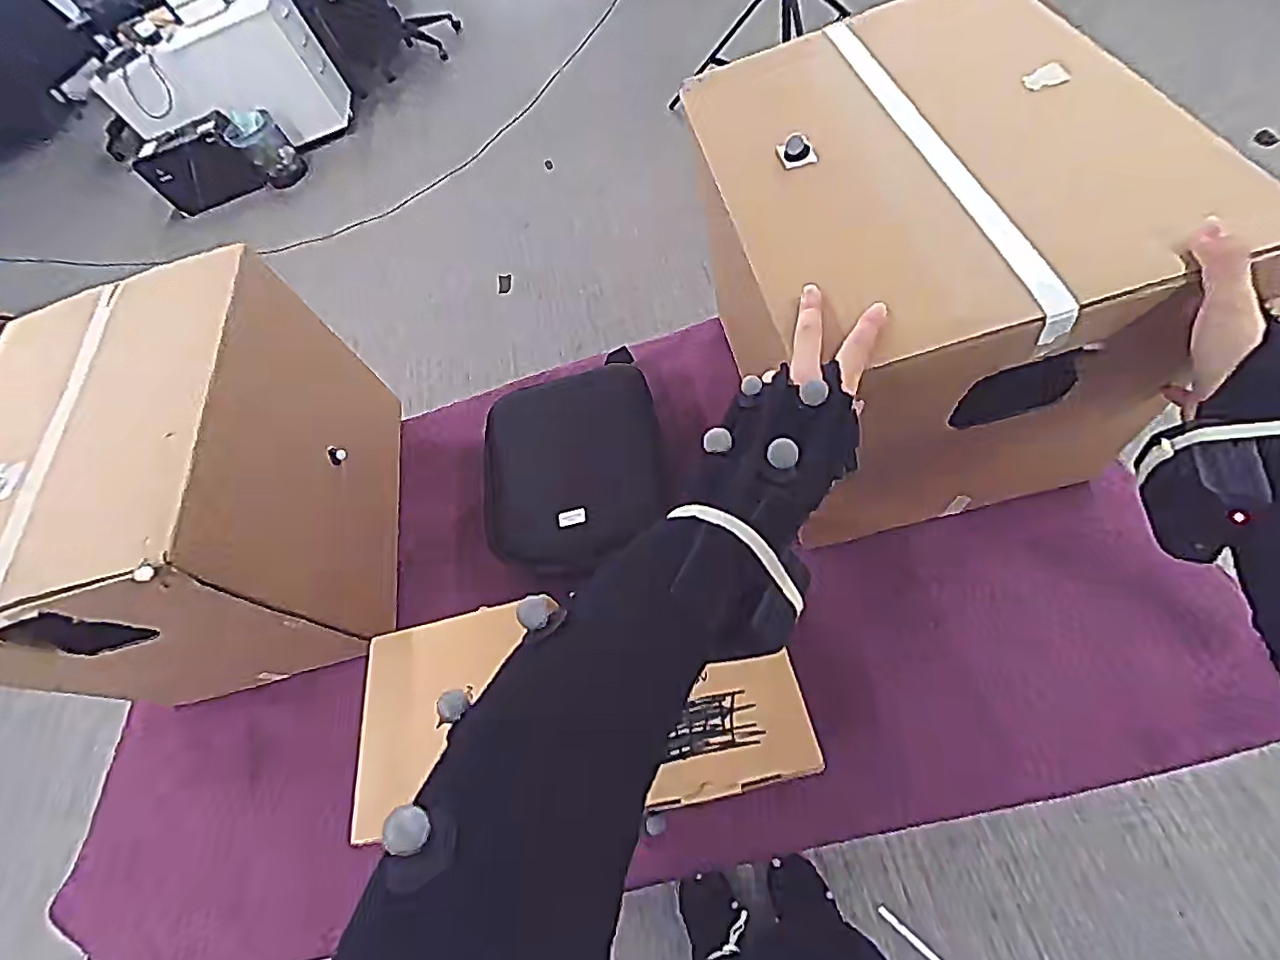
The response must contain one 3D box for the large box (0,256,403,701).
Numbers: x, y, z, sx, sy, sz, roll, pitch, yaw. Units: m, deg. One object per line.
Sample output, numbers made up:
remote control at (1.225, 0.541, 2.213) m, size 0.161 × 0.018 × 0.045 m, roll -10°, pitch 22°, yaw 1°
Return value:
large box at (-0.519, 0.016, 0.665) m, size 0.320 × 0.320 × 0.408 m, roll -17°, pitch 61°, yaw 4°
